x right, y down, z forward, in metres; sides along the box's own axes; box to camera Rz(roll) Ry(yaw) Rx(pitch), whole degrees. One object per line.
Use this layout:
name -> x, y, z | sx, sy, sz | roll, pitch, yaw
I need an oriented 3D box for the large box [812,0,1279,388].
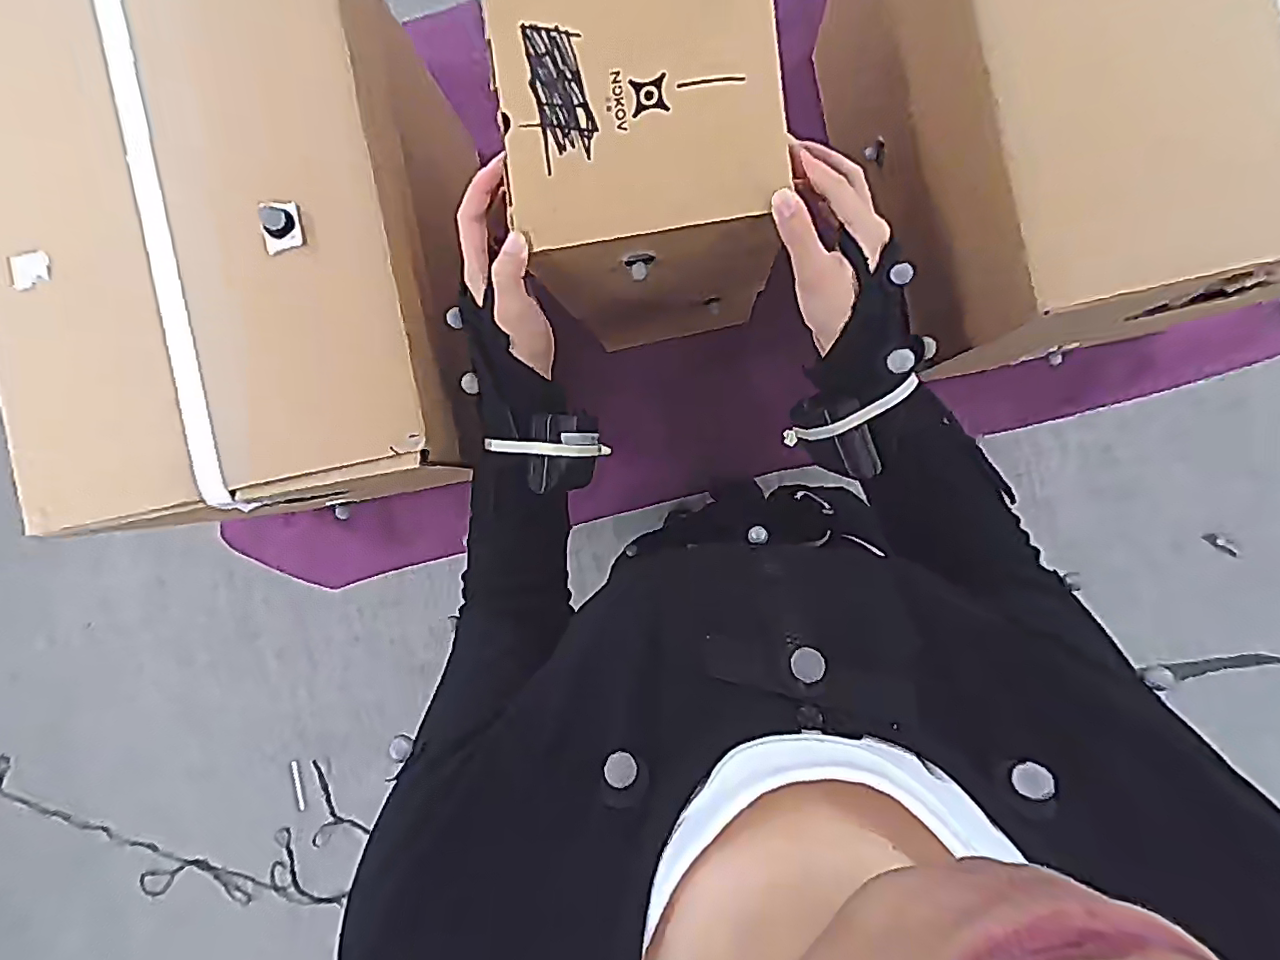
large box -> 0.364, -0.327, 0.455 | 0.320, 0.320, 0.408 | -12, 89, 6
